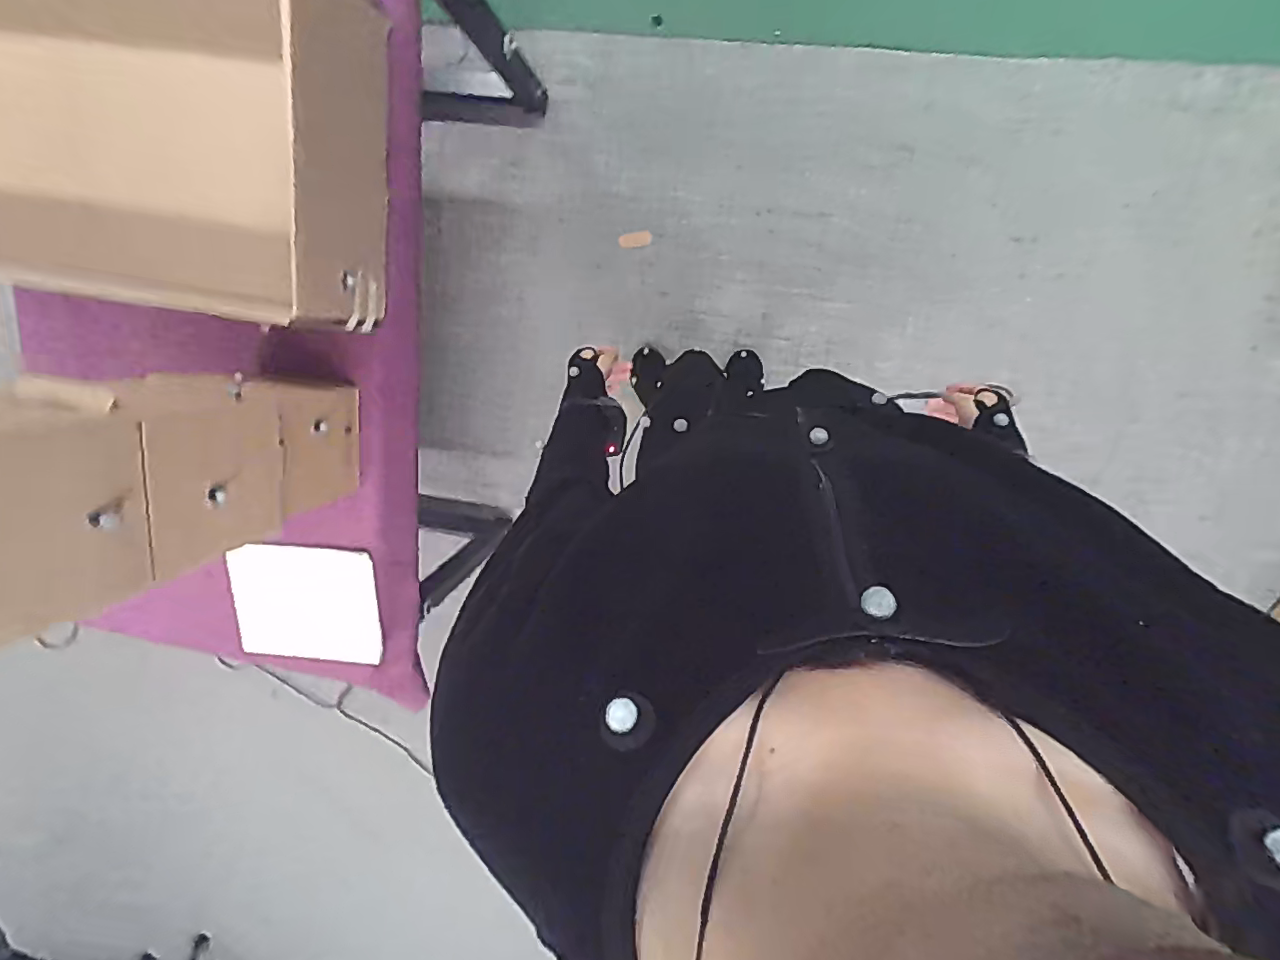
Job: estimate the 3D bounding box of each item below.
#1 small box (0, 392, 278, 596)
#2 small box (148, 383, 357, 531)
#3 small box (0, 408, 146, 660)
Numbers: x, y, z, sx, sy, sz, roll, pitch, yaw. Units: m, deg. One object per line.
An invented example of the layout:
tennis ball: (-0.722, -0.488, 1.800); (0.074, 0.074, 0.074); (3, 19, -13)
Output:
small box: (-0.540, 0.001, 0.603); (0.168, 0.176, 0.179); (10, 105, 6)
small box: (-0.527, -0.043, 0.760); (0.179, 0.176, 0.168); (10, 104, 6)
small box: (-0.562, 0.038, 0.444); (0.168, 0.176, 0.179); (9, 103, 7)
